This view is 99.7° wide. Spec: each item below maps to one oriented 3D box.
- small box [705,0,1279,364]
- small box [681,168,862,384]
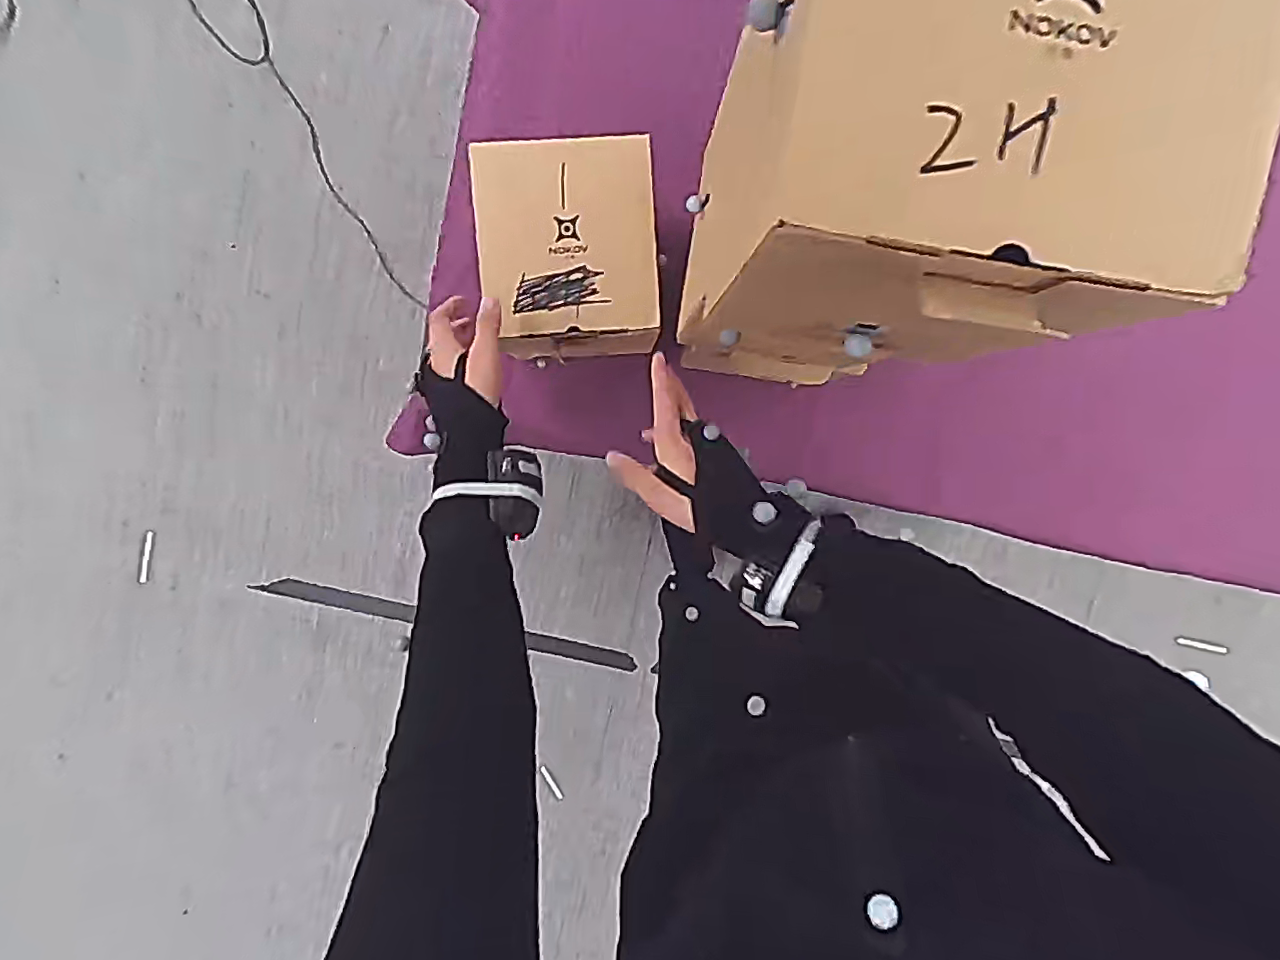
[{"bbox_3d":[0.133,-0.164,0.260,0.168,0.176,0.179,9,95,-3],"label":"small box"},{"bbox_3d":[0.142,-0.205,0.588,0.168,0.176,0.179,8,96,-4],"label":"small box"}]
